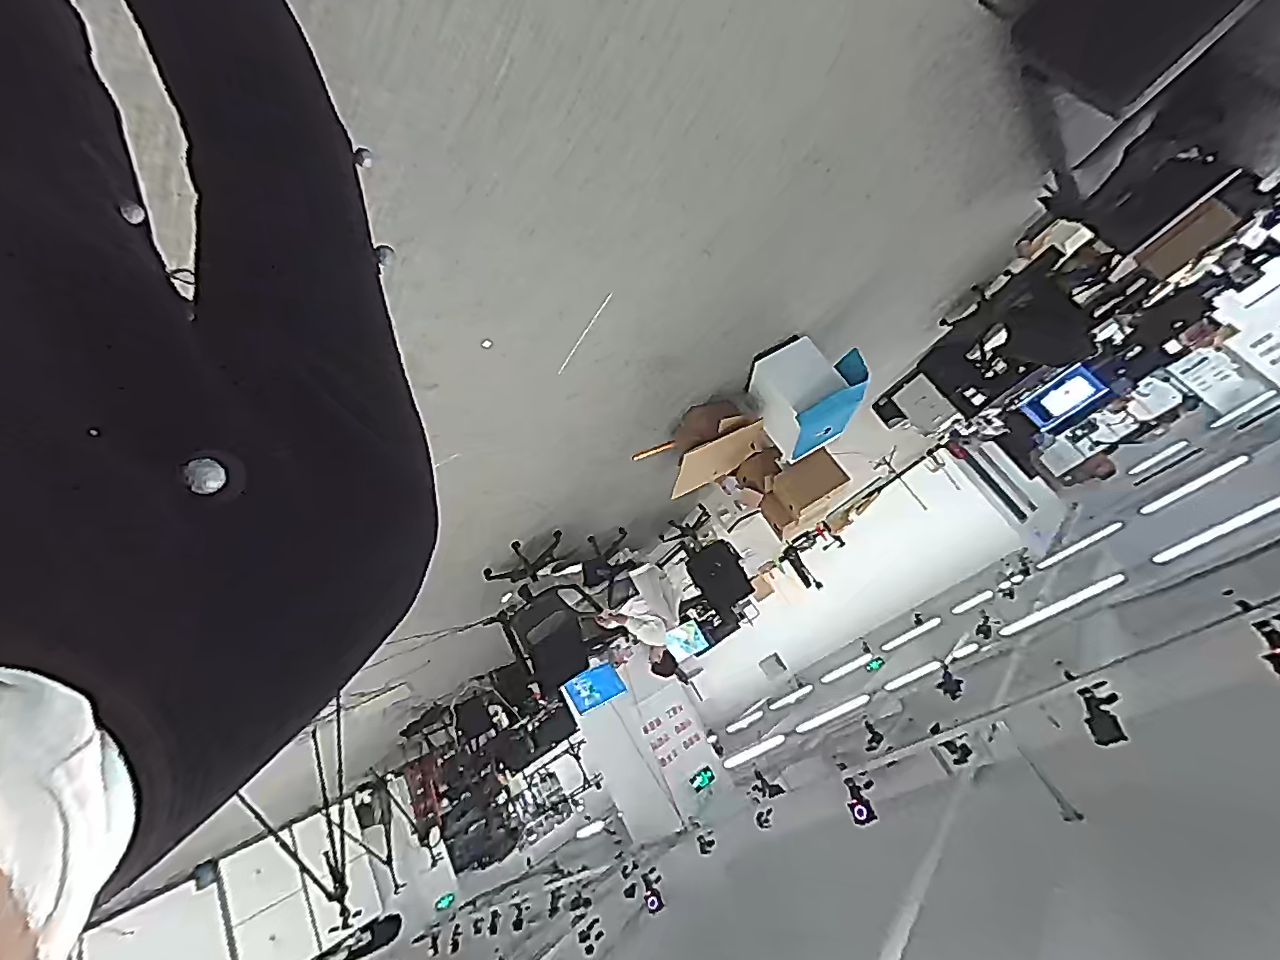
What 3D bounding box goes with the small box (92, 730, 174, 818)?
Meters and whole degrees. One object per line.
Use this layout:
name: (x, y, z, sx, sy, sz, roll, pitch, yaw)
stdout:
small box: (-1.584, 0.913, 1.691, 0.168, 0.176, 0.179, -10, 150, -45)
